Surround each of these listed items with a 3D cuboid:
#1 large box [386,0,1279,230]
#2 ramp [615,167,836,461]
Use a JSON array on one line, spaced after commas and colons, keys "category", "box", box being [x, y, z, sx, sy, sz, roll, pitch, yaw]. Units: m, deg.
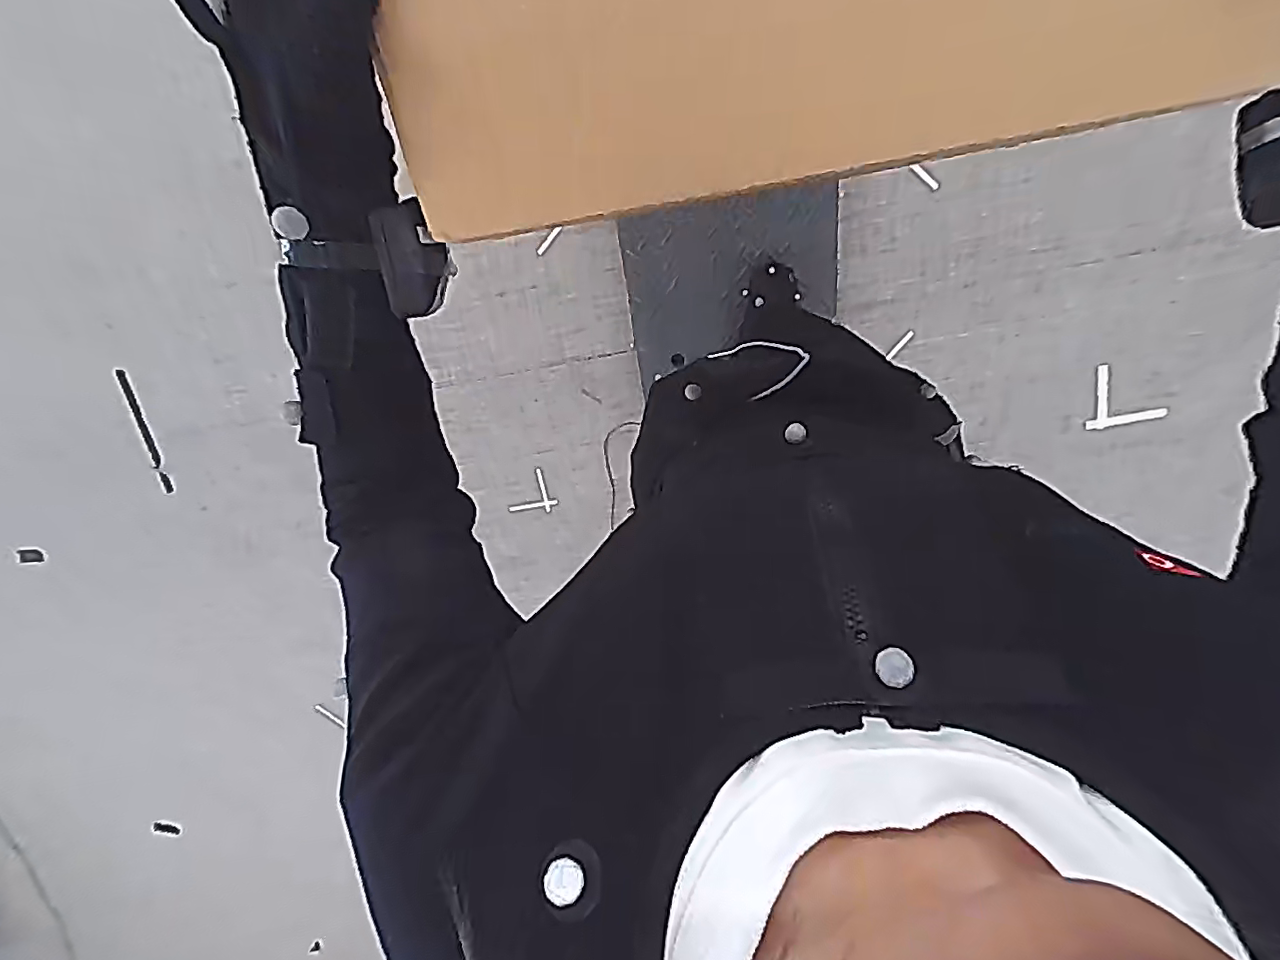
[{"category": "large box", "box": [0.075, -0.365, 0.338, 0.408, 0.320, 0.320, -7, 117, 9]}, {"category": "ramp", "box": [0.203, -0.510, 1.258, 0.509, 0.206, 0.991, -7, 108, 9]}]
